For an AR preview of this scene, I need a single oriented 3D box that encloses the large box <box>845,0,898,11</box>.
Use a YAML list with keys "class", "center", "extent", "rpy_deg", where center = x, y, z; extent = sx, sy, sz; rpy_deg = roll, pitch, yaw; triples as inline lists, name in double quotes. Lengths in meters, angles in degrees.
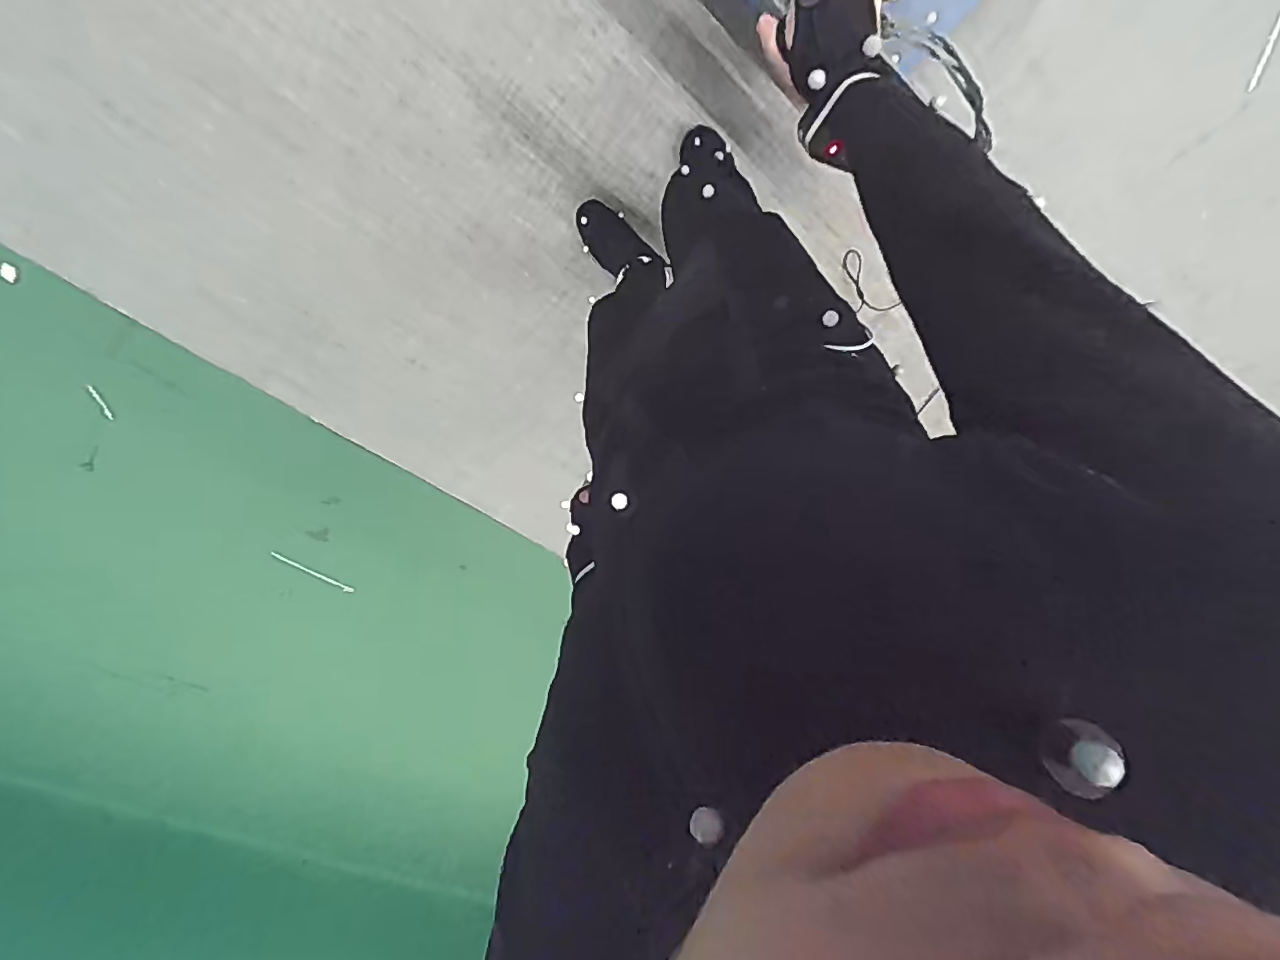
- class: "large box"
  center: [0.383, -0.965, 0.732]
  extent: [0.320, 0.320, 0.408]
  rpy_deg: [34, 126, -20]
